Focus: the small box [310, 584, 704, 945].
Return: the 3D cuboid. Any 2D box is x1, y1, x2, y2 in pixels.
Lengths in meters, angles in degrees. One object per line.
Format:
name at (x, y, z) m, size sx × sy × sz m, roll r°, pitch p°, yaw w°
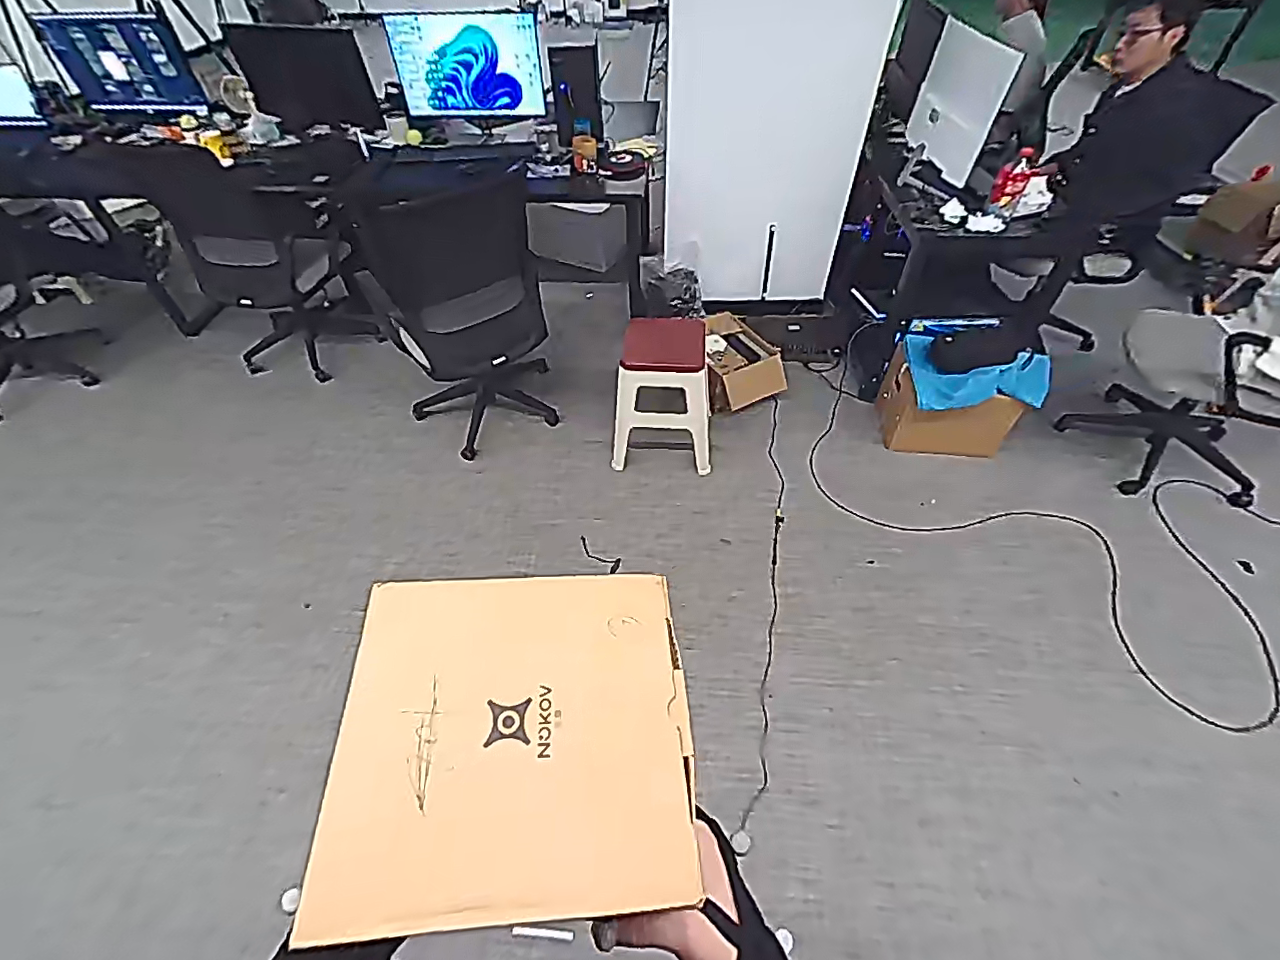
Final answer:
small box at (-0.067, 0.182, 0.351) m, size 0.179 × 0.176 × 0.168 m, roll -2°, pitch 51°, yaw -6°
